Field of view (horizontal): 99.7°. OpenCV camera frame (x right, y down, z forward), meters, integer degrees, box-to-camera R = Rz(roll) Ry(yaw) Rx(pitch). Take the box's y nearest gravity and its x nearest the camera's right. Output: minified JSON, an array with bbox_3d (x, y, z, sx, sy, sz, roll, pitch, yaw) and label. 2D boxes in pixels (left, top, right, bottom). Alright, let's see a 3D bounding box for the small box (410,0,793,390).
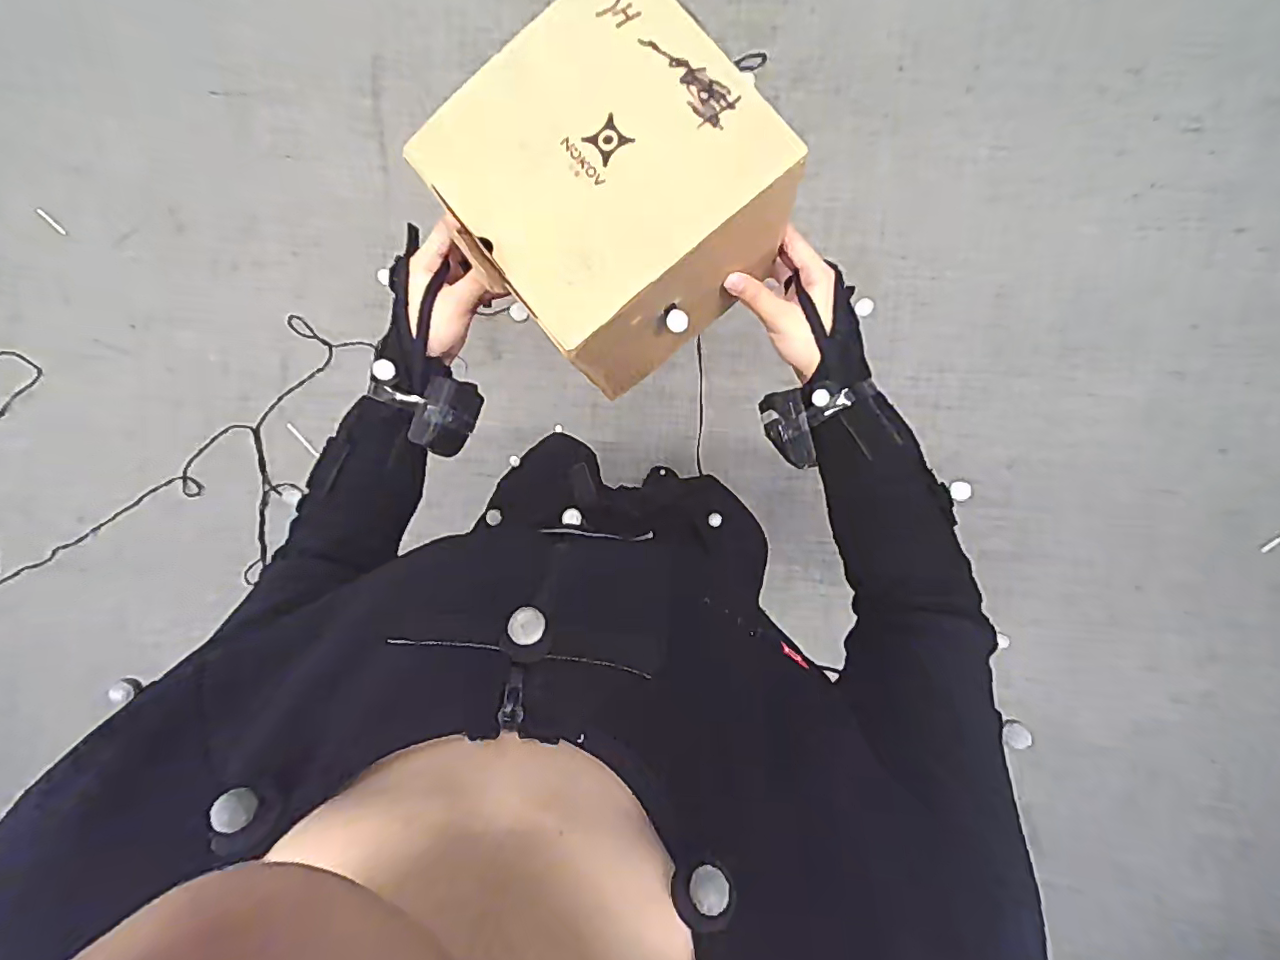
[{"bbox_3d":[-0.017,-0.188,0.394,0.179,0.176,0.168,-39,85,5],"label":"small box"}]
